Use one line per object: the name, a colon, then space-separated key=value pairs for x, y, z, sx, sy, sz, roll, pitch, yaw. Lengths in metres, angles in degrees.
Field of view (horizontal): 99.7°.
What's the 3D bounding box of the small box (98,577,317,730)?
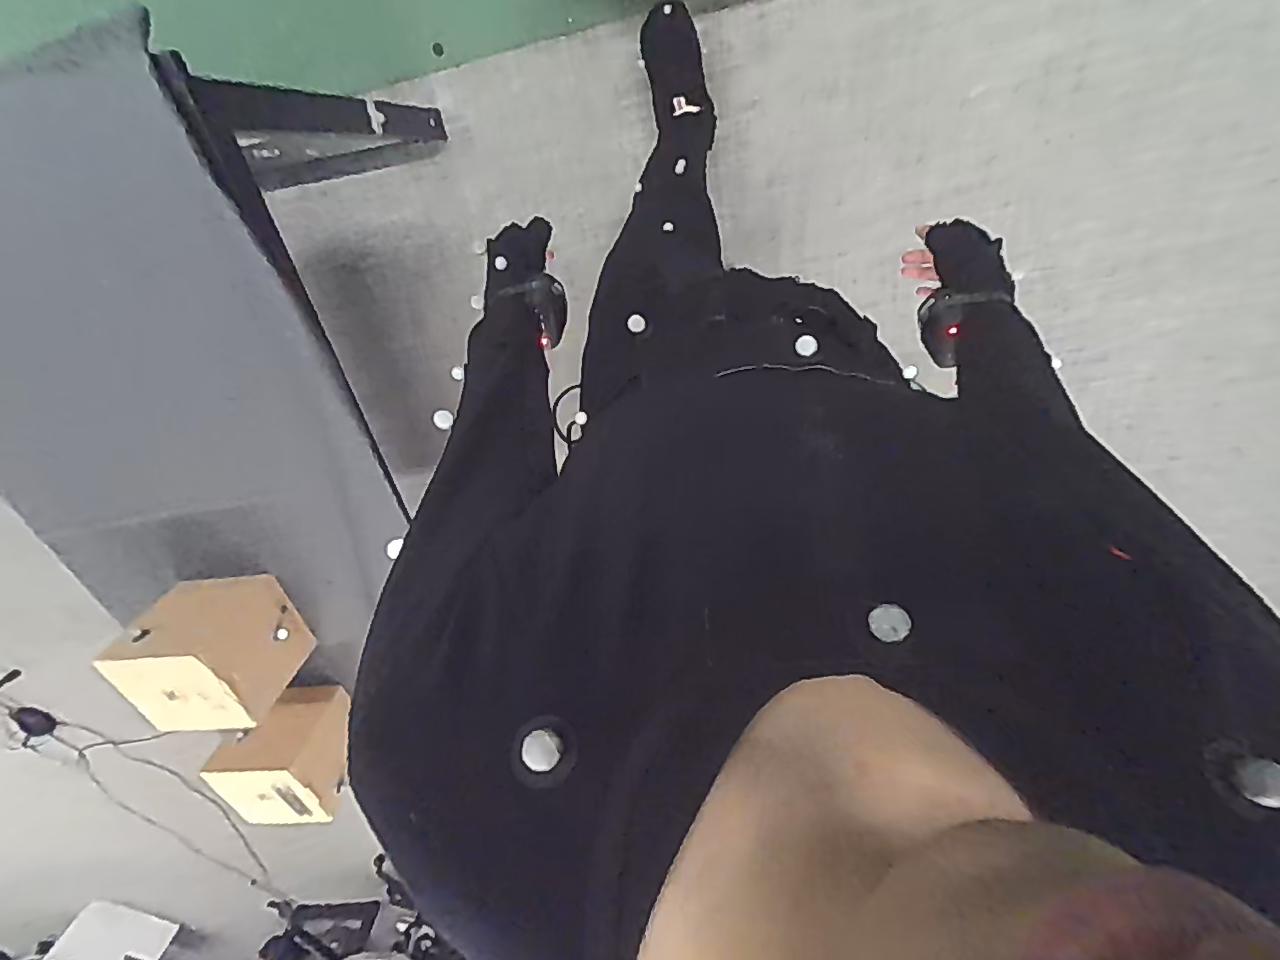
small box: x=-0.669 y=0.273 z=0.864 sx=0.179 sy=0.176 sz=0.168 roll=-6 pitch=121 yaw=7
